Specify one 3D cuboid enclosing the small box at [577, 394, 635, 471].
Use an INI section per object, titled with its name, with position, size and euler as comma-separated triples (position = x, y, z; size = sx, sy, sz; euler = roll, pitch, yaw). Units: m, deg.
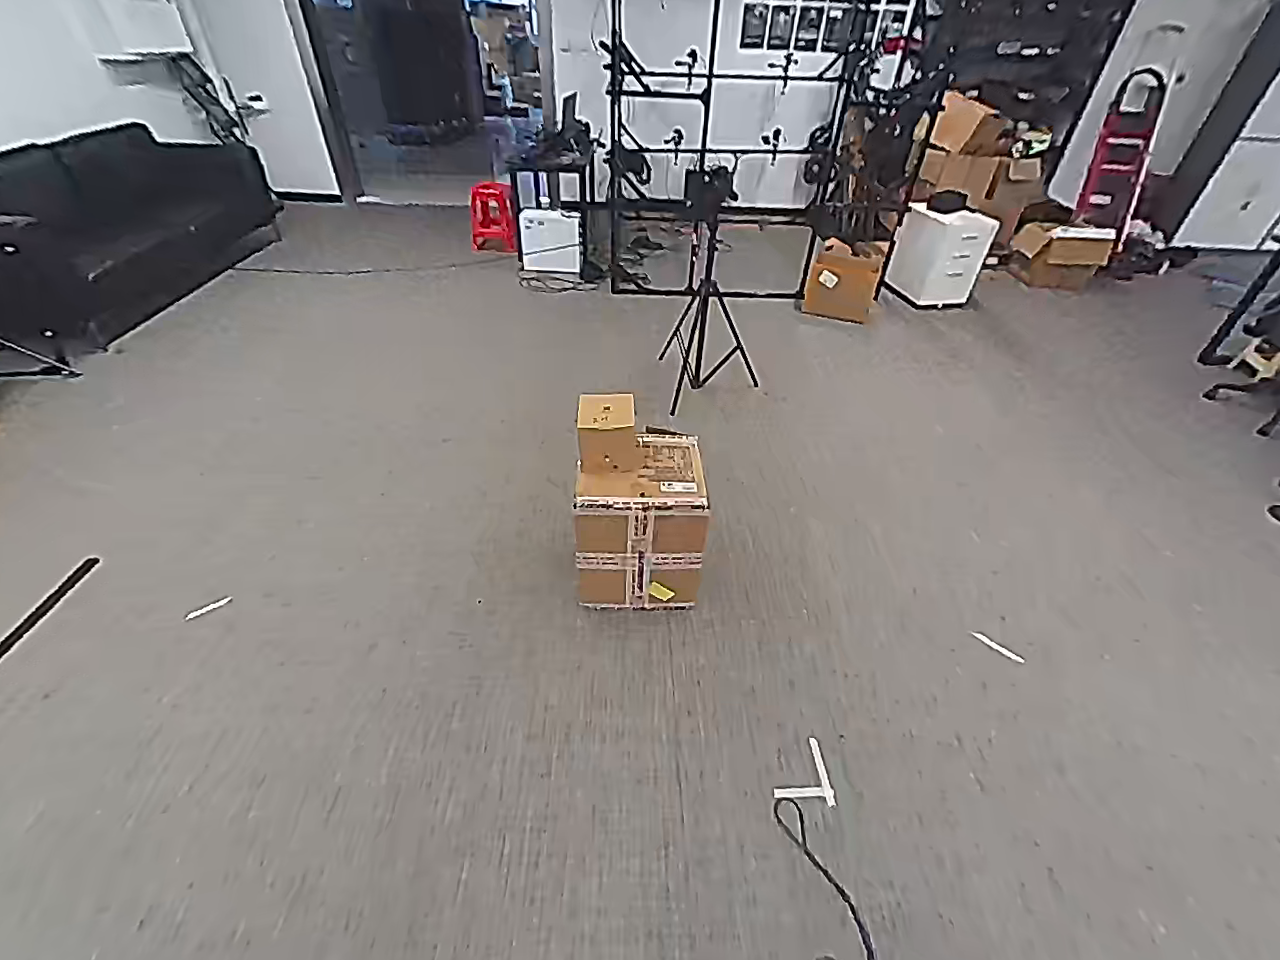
[small box]
position = -0.101, -0.145, 1.647
size = 0.168, 0.176, 0.179
euler = -2, 42, -2
